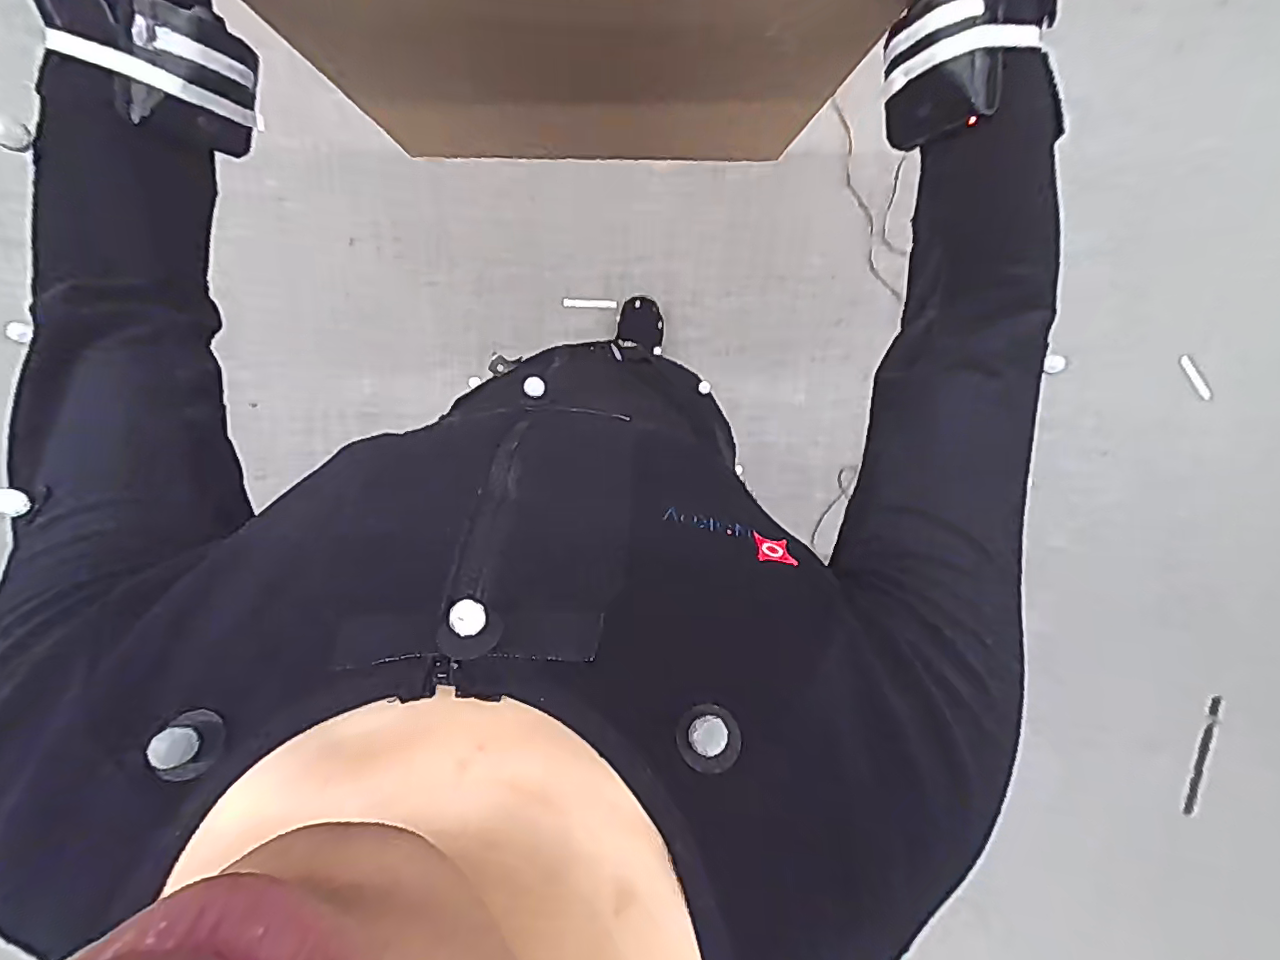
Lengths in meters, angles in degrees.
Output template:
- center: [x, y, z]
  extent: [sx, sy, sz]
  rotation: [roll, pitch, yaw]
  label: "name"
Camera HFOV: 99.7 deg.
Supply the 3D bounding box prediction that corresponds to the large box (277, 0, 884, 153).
- center: [-0.043, -0.474, 0.410]
  extent: [0.408, 0.320, 0.320]
  rotation: [-1, 104, -3]
  label: "large box"
